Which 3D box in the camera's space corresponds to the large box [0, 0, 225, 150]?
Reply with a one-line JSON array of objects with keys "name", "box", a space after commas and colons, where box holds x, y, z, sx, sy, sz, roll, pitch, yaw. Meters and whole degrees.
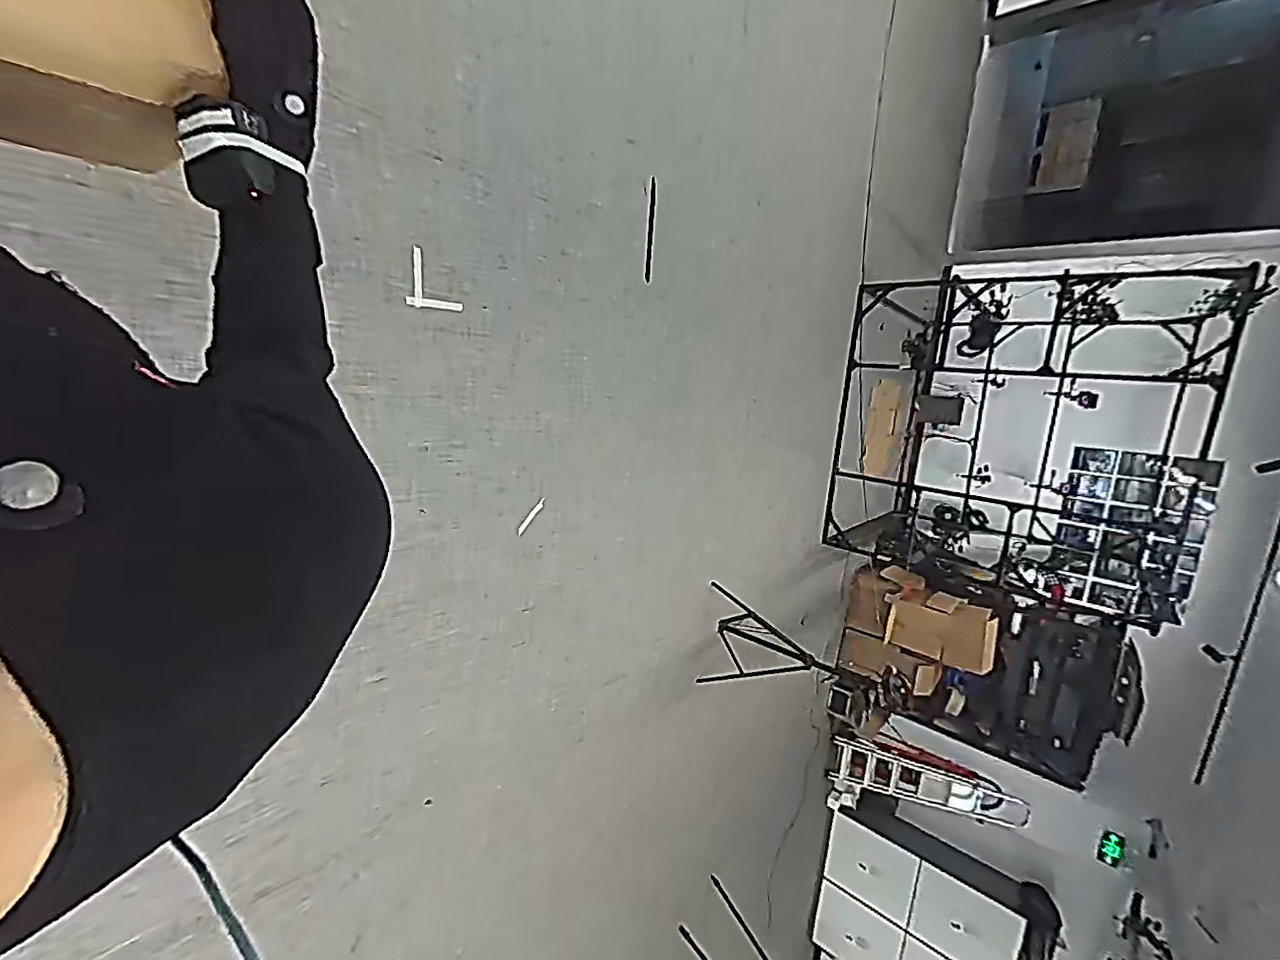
[{"name": "large box", "box": [-0.557, -0.449, 0.331, 0.408, 0.320, 0.320, -12, 114, -49]}]
